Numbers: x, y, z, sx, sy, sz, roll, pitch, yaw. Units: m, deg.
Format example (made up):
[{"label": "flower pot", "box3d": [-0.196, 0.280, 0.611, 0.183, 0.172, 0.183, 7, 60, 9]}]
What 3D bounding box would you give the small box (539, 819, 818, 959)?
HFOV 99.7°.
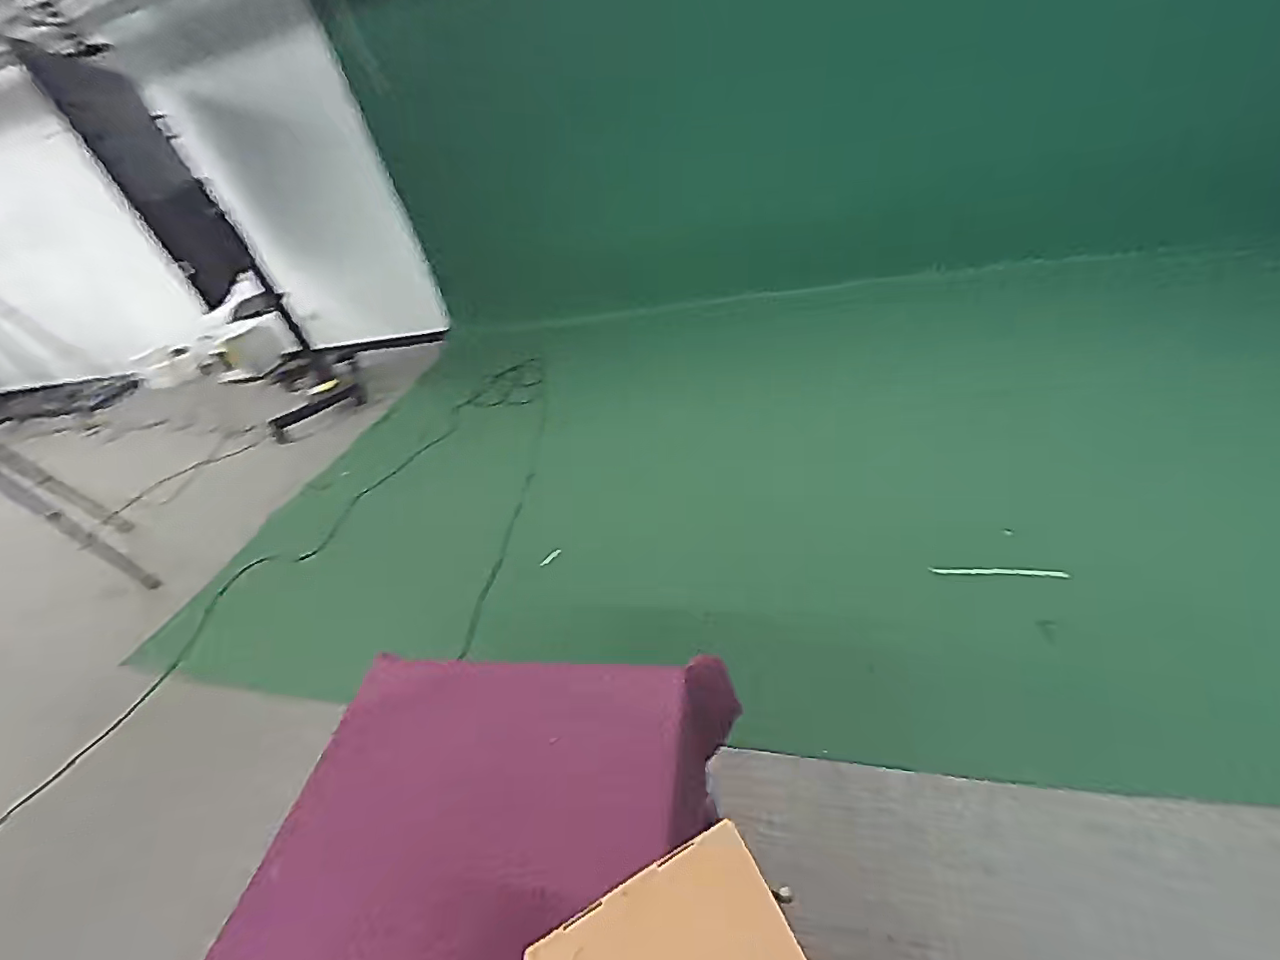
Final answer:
[{"label": "small box", "box3d": [0.055, 0.381, 0.370, 0.168, 0.176, 0.179, -28, 44, -7]}]
